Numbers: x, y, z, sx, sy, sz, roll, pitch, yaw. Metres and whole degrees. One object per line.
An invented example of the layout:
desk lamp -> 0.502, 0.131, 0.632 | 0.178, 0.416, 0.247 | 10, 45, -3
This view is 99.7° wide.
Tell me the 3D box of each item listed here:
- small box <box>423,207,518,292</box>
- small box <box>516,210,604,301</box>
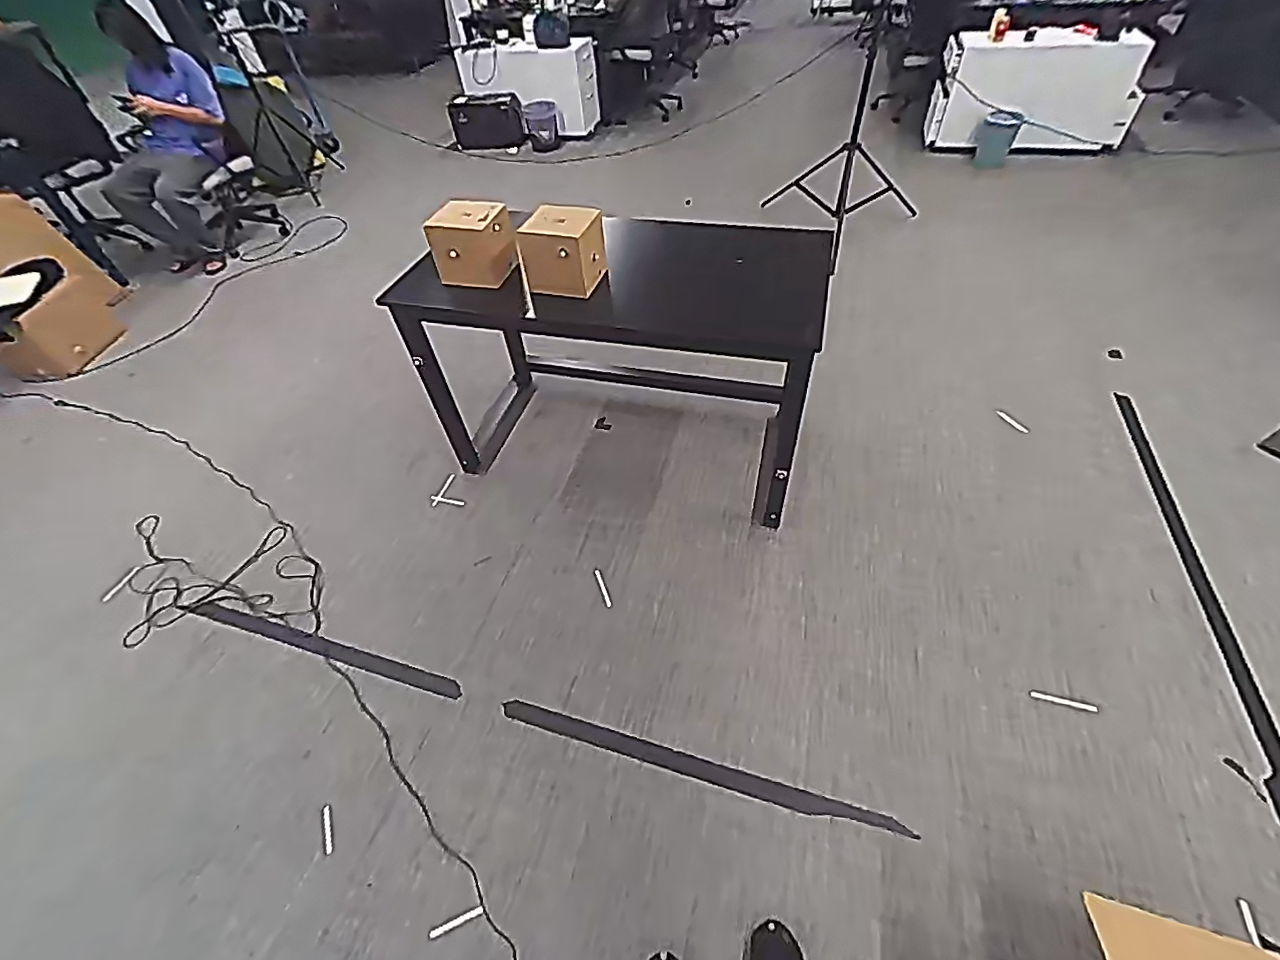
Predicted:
small box -> -0.468, -0.648, 1.523 | 0.179, 0.176, 0.168 | 8, 50, 12
small box -> -0.206, -0.603, 1.460 | 0.179, 0.176, 0.168 | 11, 49, 13
